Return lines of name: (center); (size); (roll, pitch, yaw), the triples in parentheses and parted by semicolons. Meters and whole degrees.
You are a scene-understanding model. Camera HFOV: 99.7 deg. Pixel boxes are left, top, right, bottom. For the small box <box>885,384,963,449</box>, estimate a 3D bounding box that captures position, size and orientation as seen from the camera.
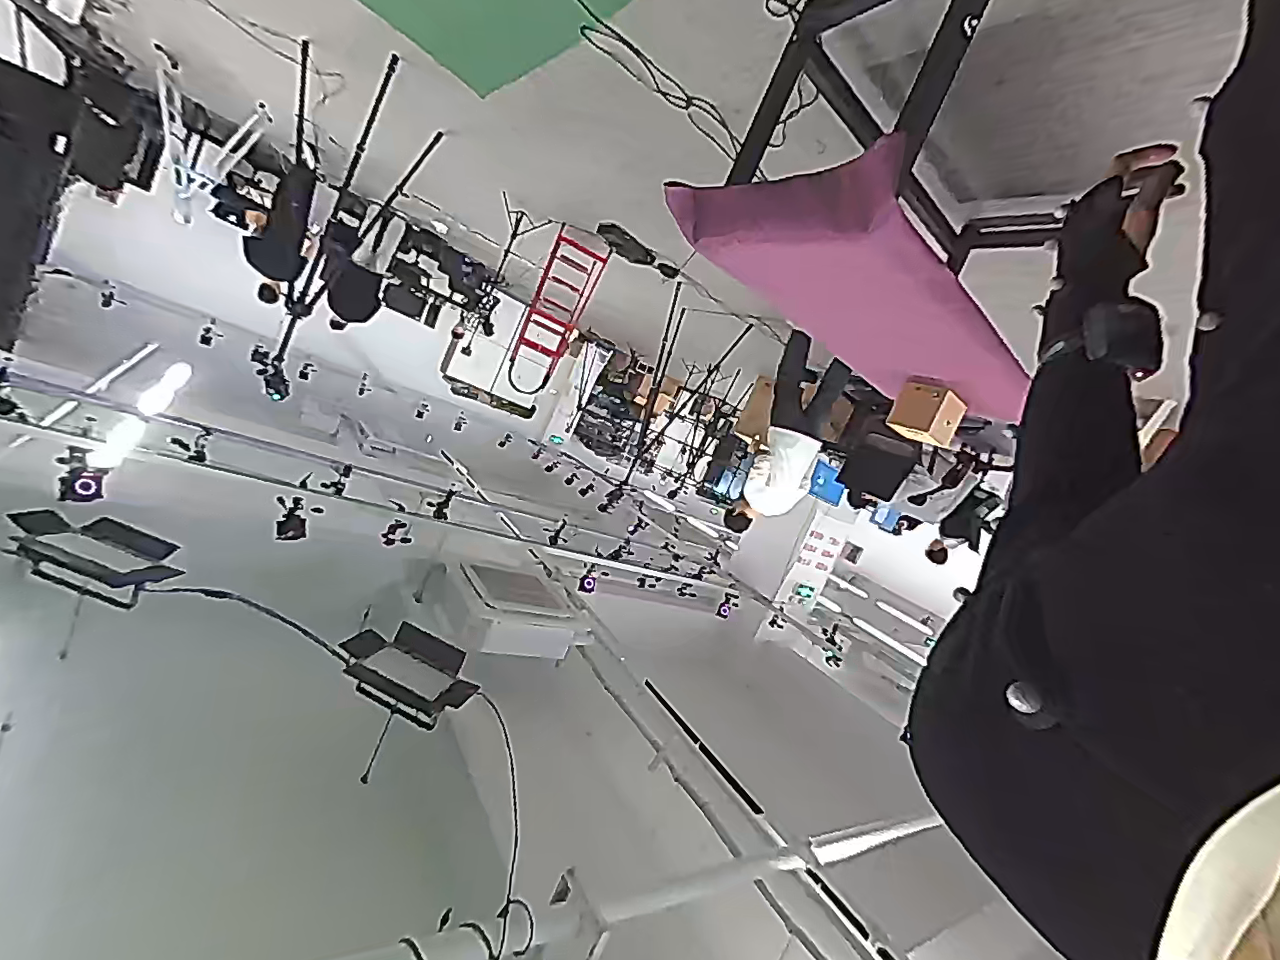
small box: (1.032, -0.235, 1.961); (0.179, 0.176, 0.168); (19, -172, -38)
